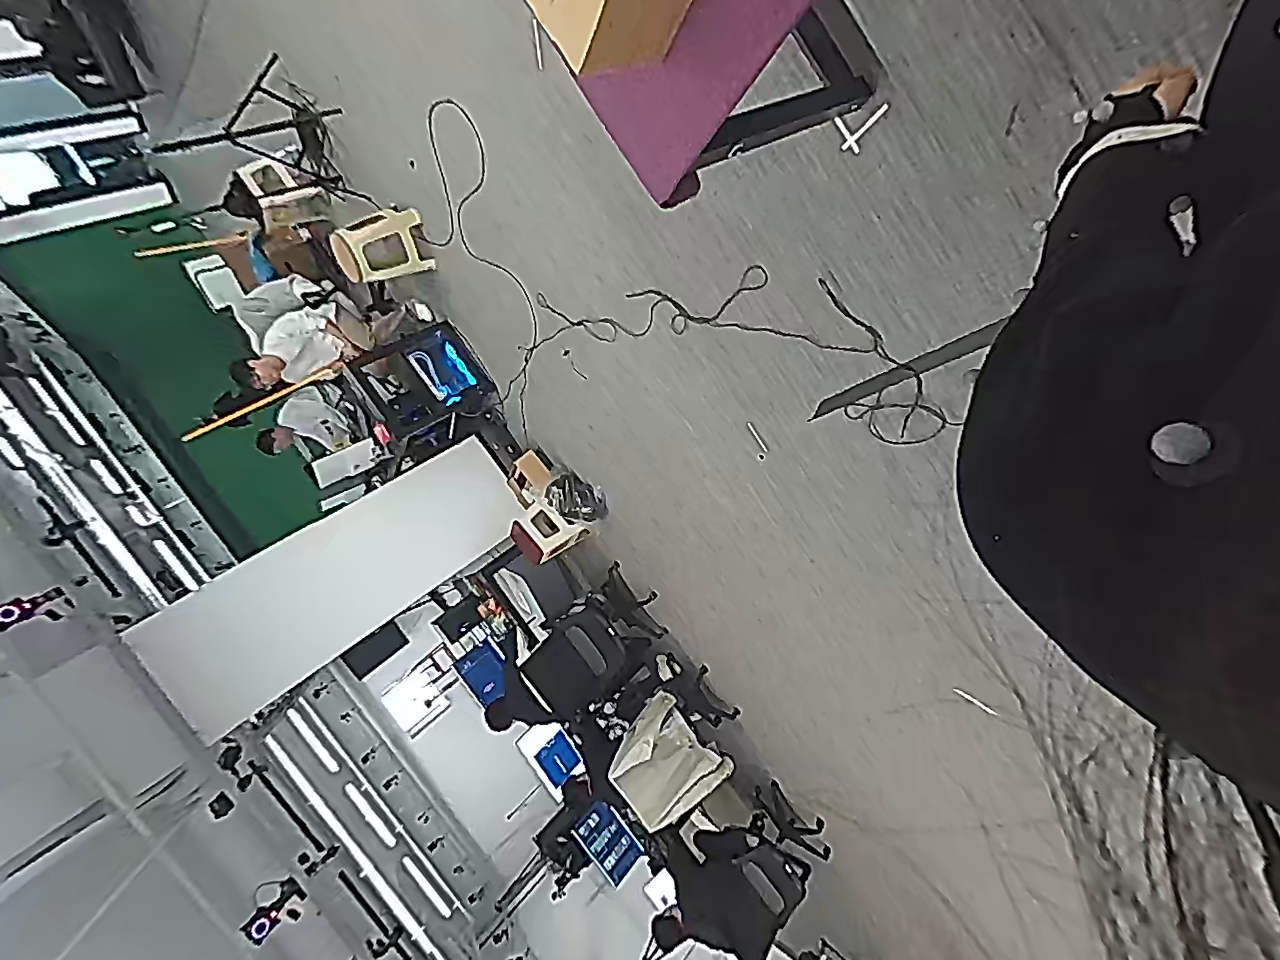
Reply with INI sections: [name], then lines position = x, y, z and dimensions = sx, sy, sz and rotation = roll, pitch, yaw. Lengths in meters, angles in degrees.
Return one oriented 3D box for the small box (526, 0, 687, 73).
[small box]
position = -0.038, -0.674, 0.688
dimensions = 0.168, 0.176, 0.179
rotation = 56, 150, -2
